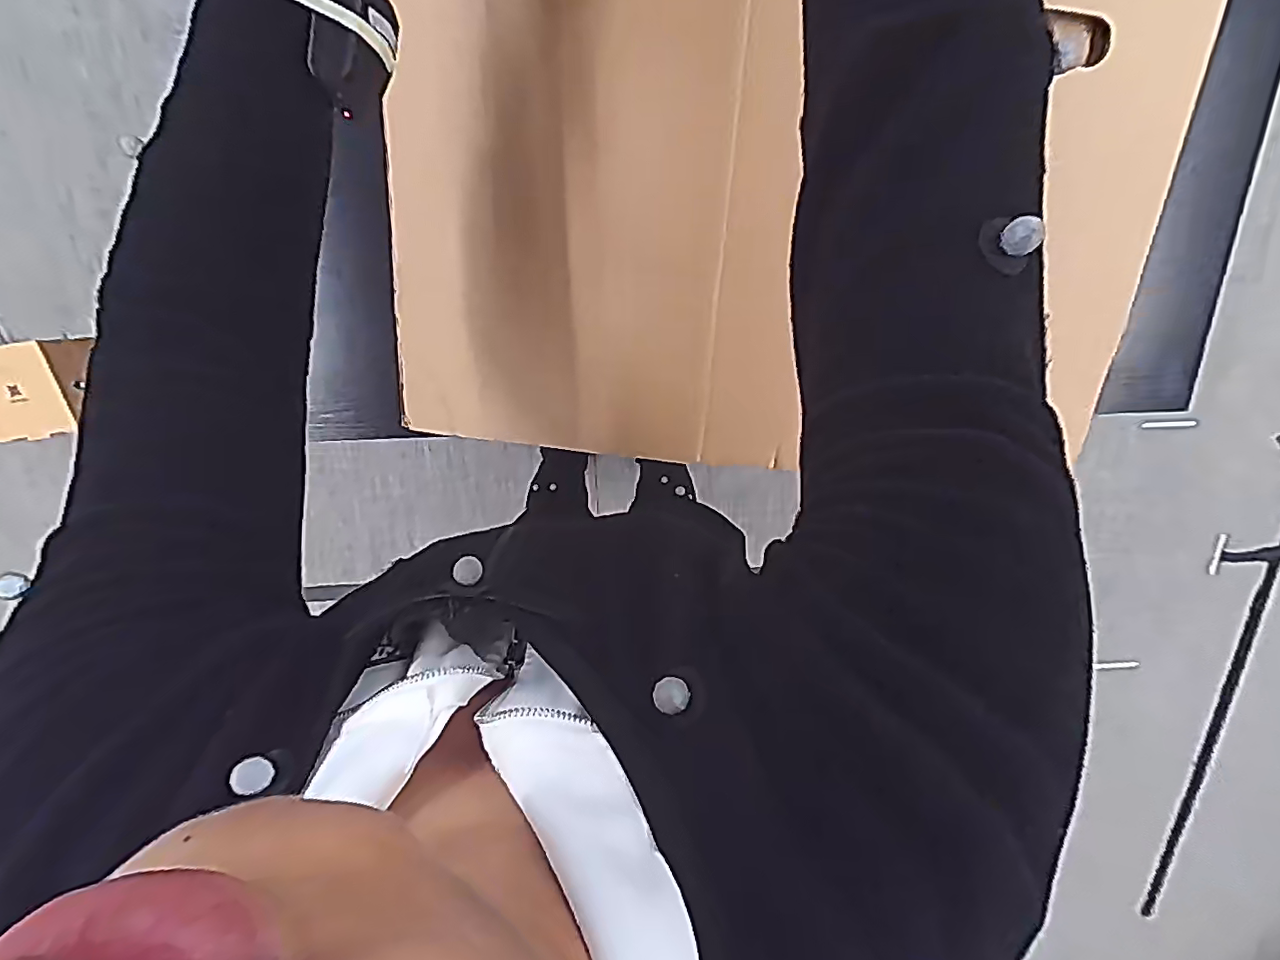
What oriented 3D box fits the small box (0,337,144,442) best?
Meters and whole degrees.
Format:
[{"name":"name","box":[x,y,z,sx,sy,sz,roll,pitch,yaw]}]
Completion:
[{"name":"small box","box":[-1.178,-0.189,1.098,0.168,0.176,0.179,-9,107,-1]}]
